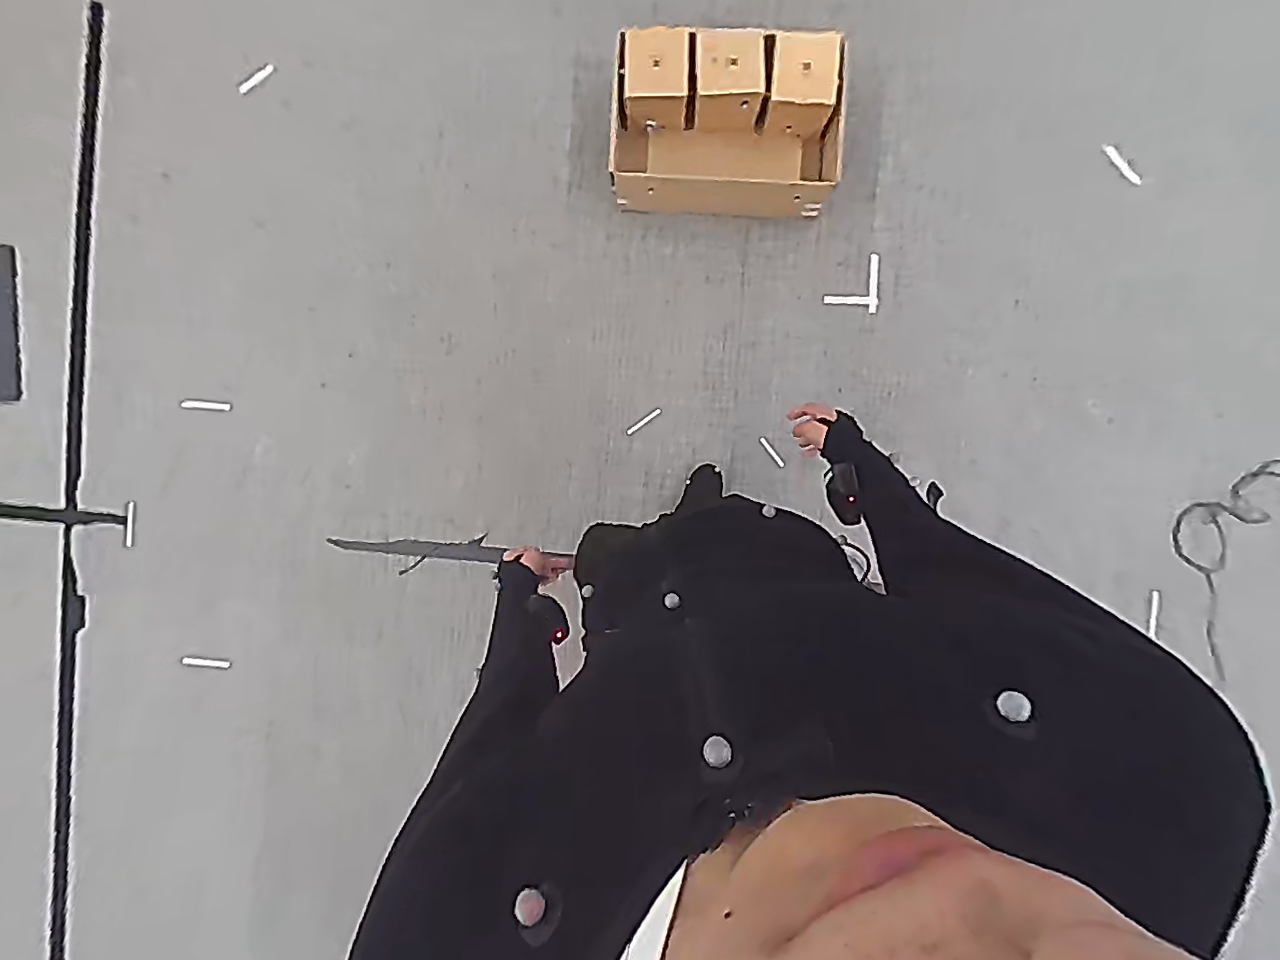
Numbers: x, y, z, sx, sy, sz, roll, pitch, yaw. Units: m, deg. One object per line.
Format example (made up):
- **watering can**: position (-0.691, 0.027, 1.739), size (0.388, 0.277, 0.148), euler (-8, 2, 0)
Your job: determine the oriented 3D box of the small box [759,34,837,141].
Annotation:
- **small box**: position (0.425, -1.068, 1.480), size (0.168, 0.176, 0.179), euler (3, 94, 2)
